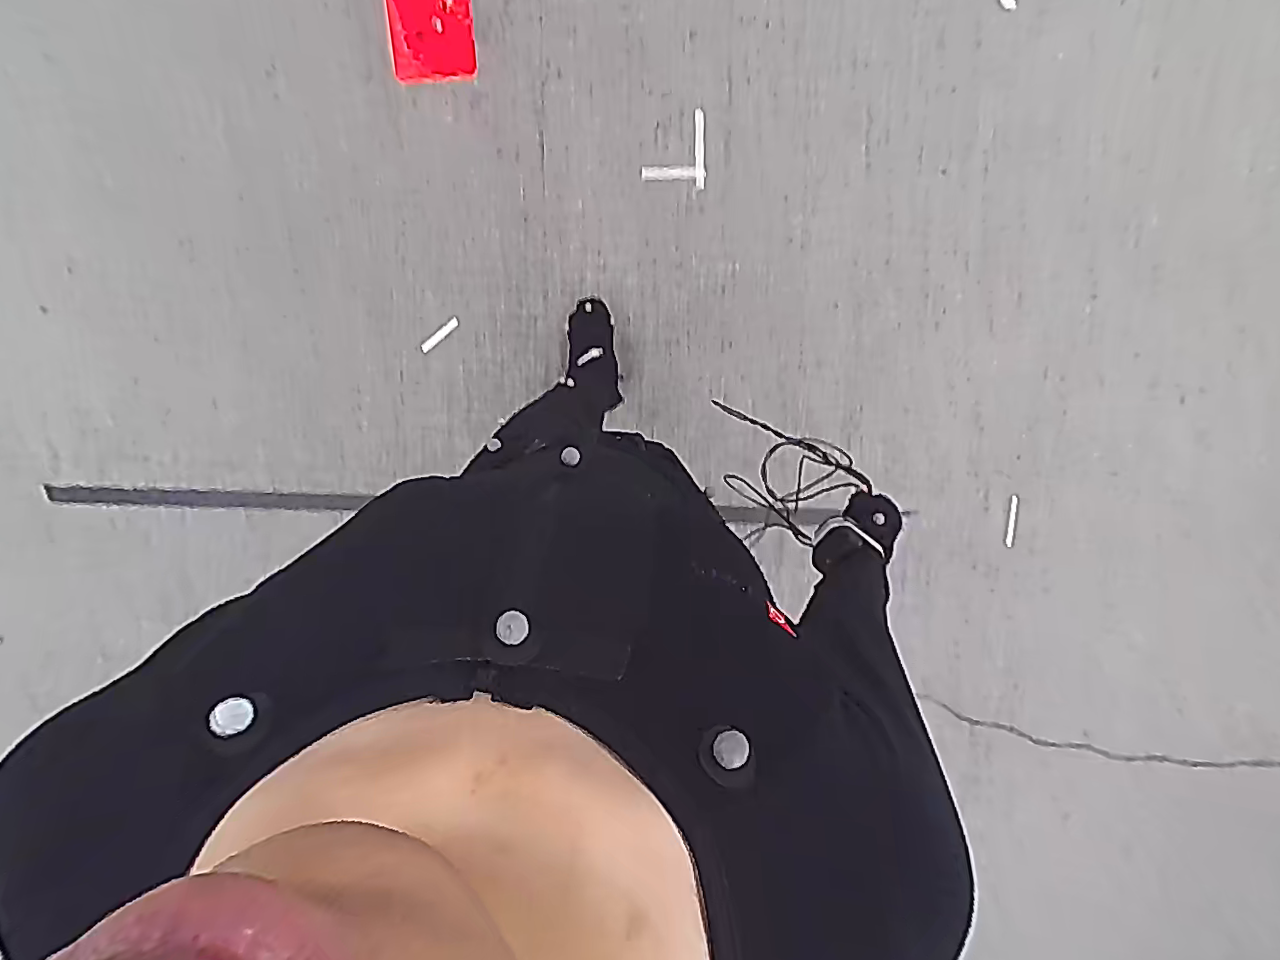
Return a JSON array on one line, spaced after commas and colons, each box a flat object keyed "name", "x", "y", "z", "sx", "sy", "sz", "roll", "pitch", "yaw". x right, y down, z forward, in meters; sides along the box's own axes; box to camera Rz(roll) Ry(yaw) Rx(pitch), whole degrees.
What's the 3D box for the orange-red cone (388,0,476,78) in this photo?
[{"name": "orange-red cone", "x": -0.490, "y": -1.032, "z": 1.102, "sx": 0.199, "sy": 0.360, "sz": 0.198, "roll": -3, "pitch": 98, "yaw": 1}]
